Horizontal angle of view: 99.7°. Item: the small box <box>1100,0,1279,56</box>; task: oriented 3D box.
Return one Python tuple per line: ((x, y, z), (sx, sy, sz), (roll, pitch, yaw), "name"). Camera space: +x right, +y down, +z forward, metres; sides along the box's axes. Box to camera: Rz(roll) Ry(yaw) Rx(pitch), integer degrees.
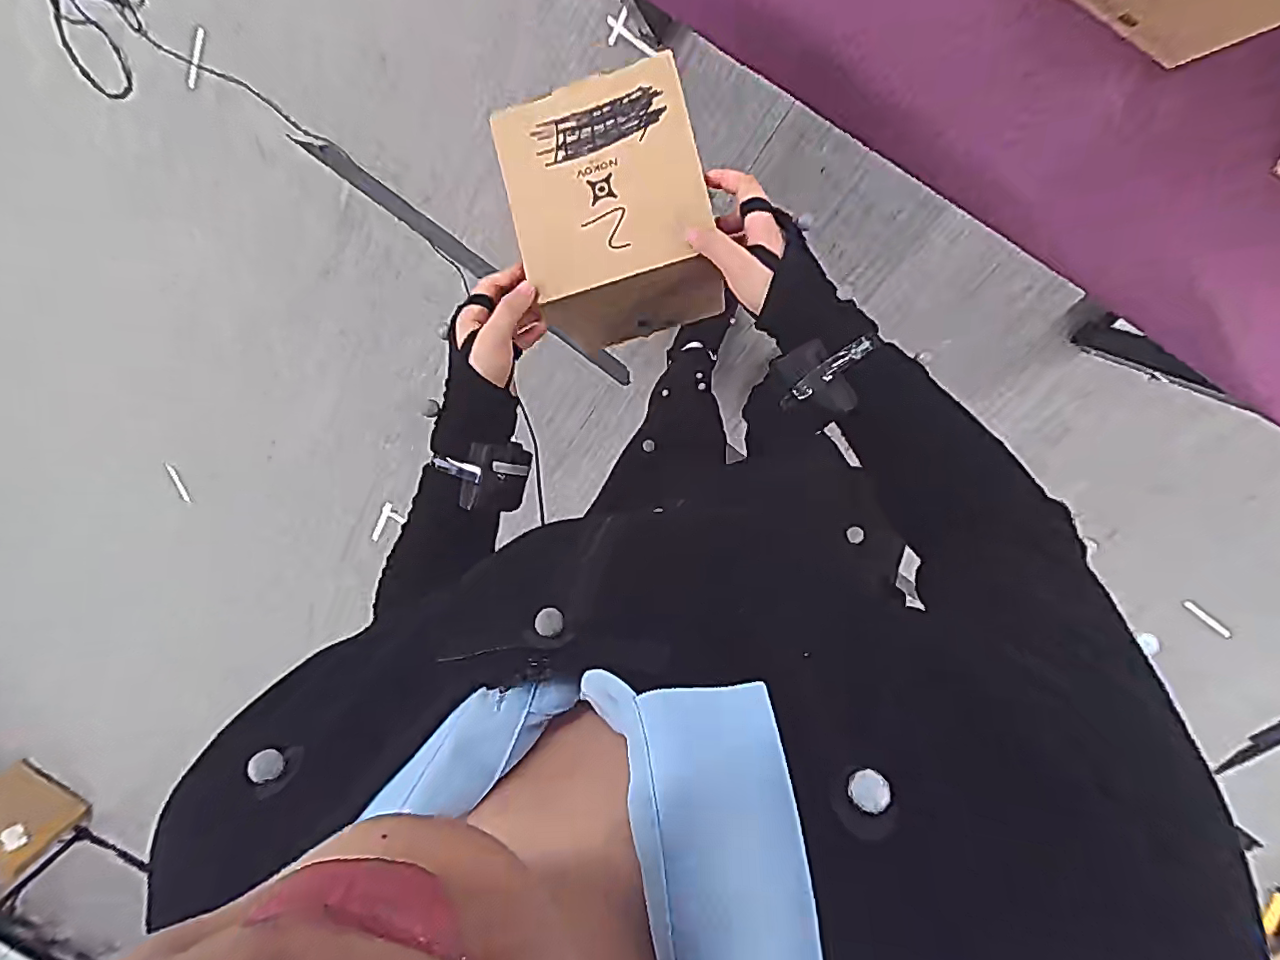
((0.412, -0.426, 0.347), (0.168, 0.176, 0.179), (32, 115, -5), "small box")
